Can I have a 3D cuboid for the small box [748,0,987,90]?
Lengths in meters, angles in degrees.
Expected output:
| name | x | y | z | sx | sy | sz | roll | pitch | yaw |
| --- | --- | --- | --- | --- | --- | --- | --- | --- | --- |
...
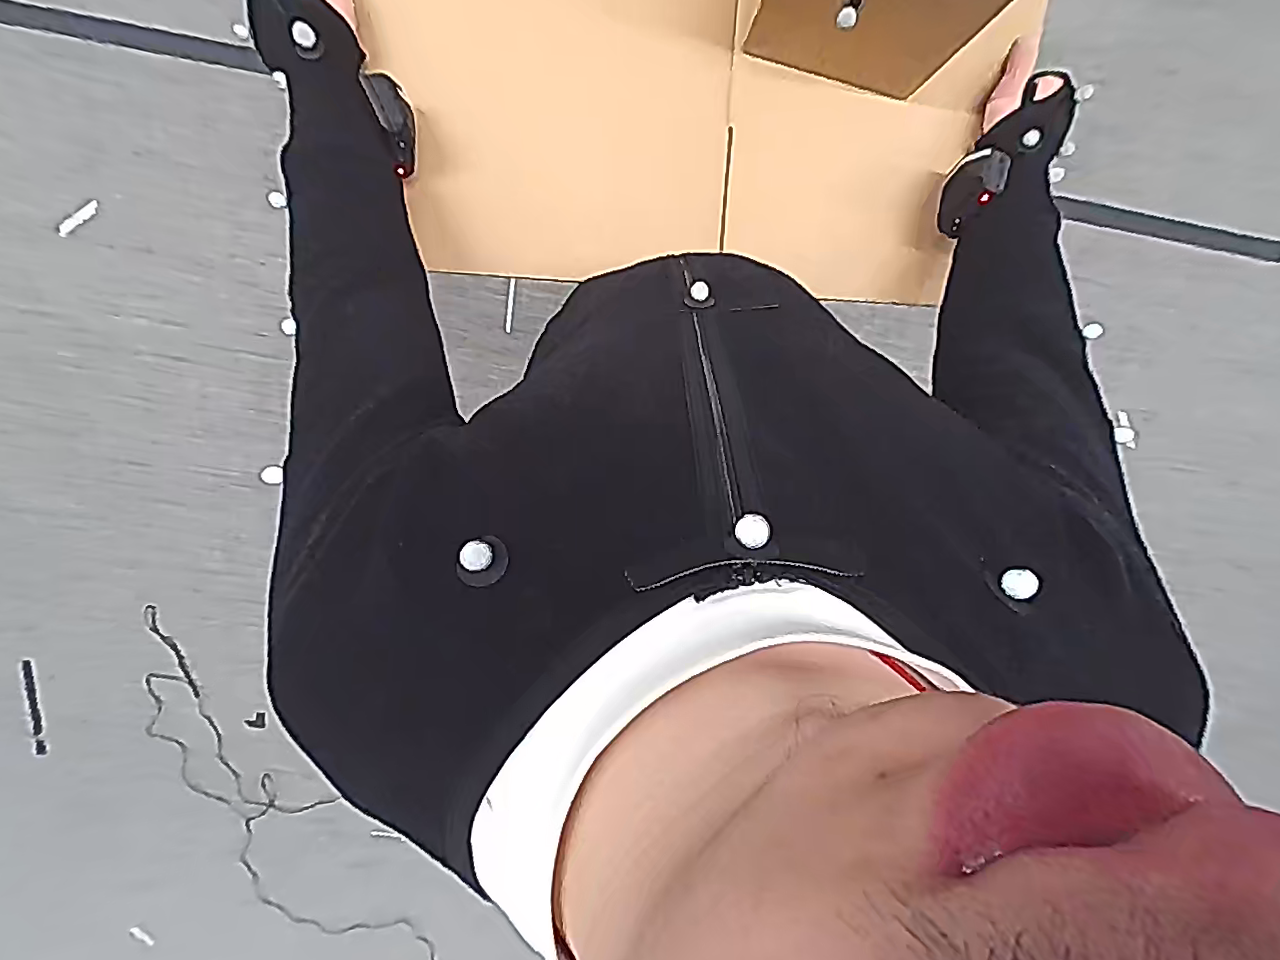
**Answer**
| name | x | y | z | sx | sy | sz | roll | pitch | yaw |
| --- | --- | --- | --- | --- | --- | --- | --- | --- | --- |
| small box | 0.203 | -0.463 | 0.444 | 0.179 | 0.176 | 0.168 | 13 | 102 | -3 |
